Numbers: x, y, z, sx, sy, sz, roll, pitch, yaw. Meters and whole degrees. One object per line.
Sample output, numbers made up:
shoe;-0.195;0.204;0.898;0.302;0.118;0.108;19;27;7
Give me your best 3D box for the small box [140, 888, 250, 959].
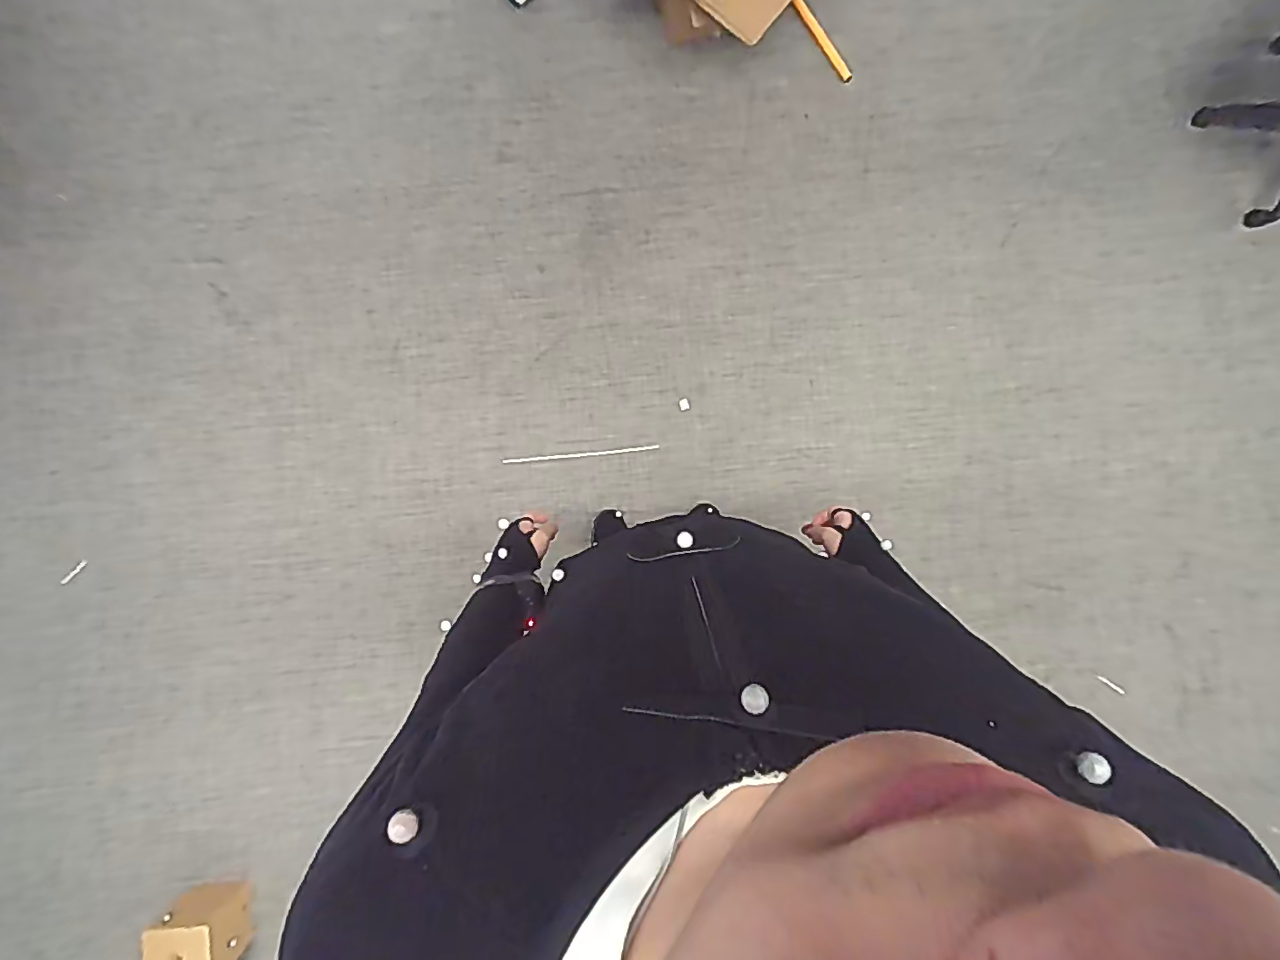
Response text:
small box;-1.212;1.268;1.489;0.179;0.176;0.168;-5;88;-1
